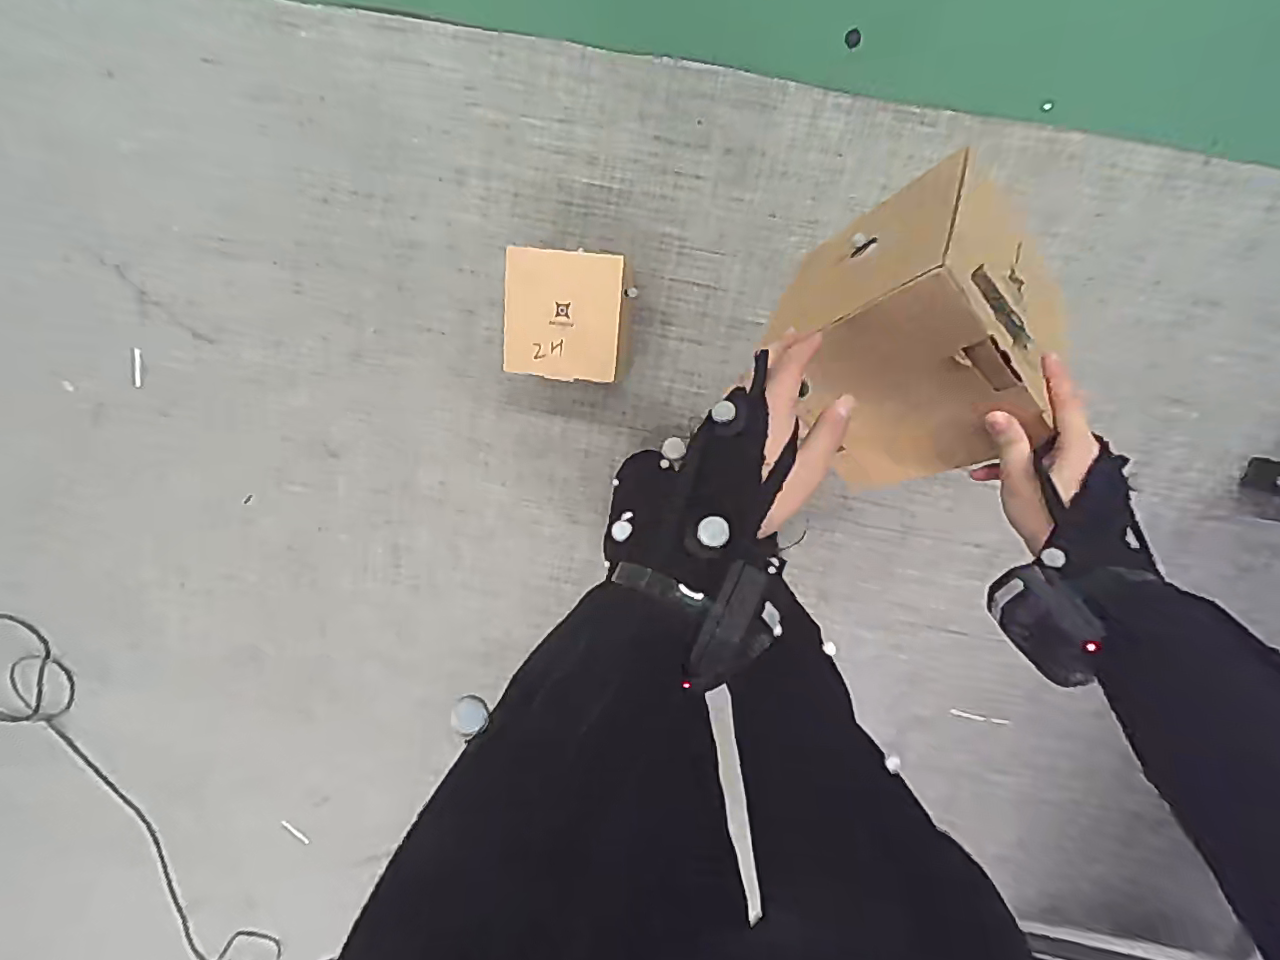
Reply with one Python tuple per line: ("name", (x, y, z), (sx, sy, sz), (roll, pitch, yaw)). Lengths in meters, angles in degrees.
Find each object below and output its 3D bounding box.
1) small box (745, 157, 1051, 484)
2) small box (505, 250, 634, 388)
("small box", (0.217, -0.121, 0.466), (0.168, 0.179, 0.176), (41, 145, -19))
("small box", (-0.103, -0.246, 0.842), (0.168, 0.176, 0.179), (6, 106, 4))
